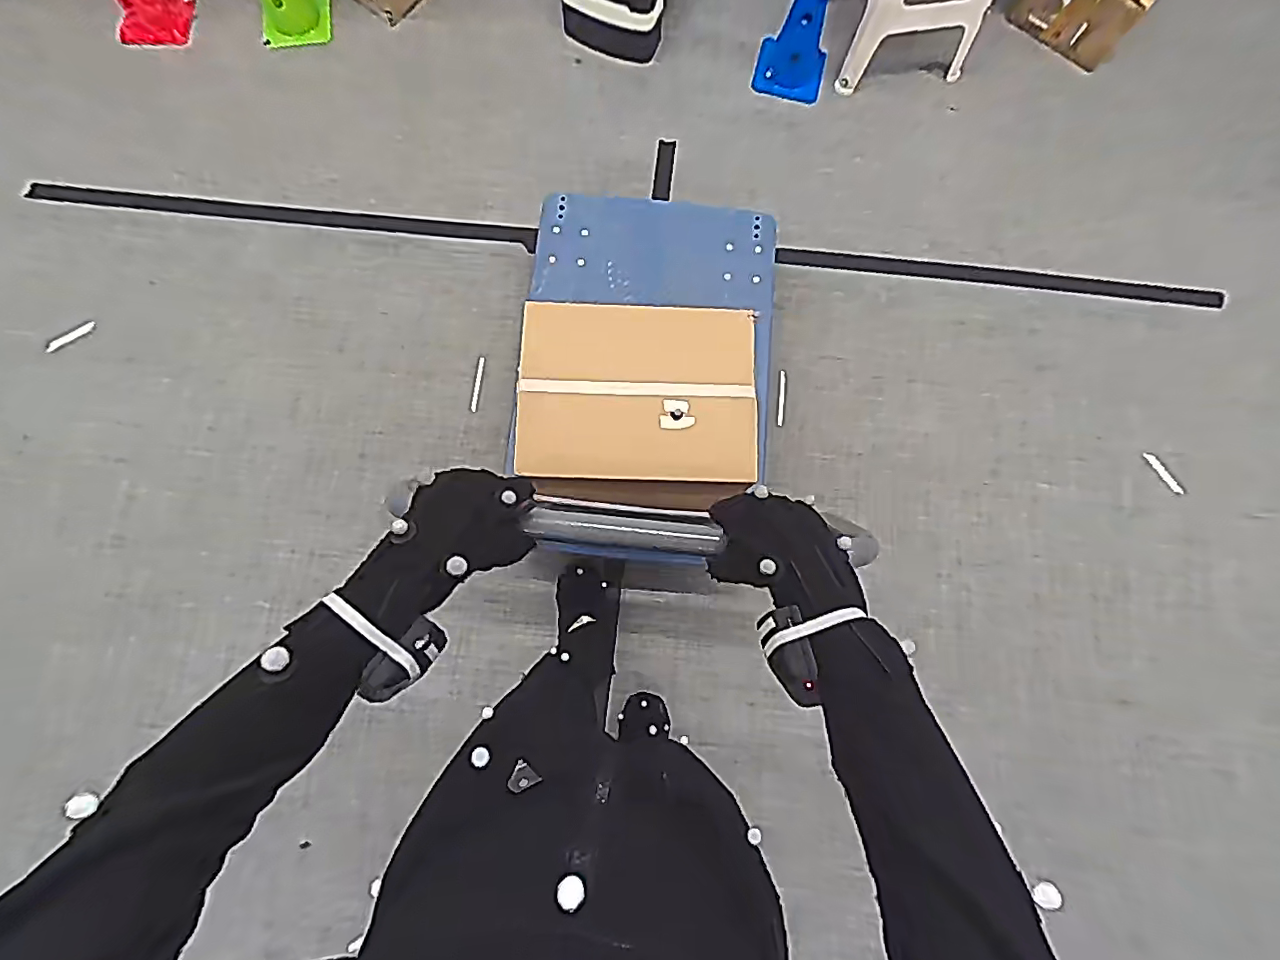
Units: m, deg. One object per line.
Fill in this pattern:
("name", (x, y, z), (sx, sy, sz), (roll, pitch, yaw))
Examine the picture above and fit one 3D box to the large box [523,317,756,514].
("large box", (-0.007, -0.107, 1.088), (0.408, 0.320, 0.320), (2, 79, -2))
